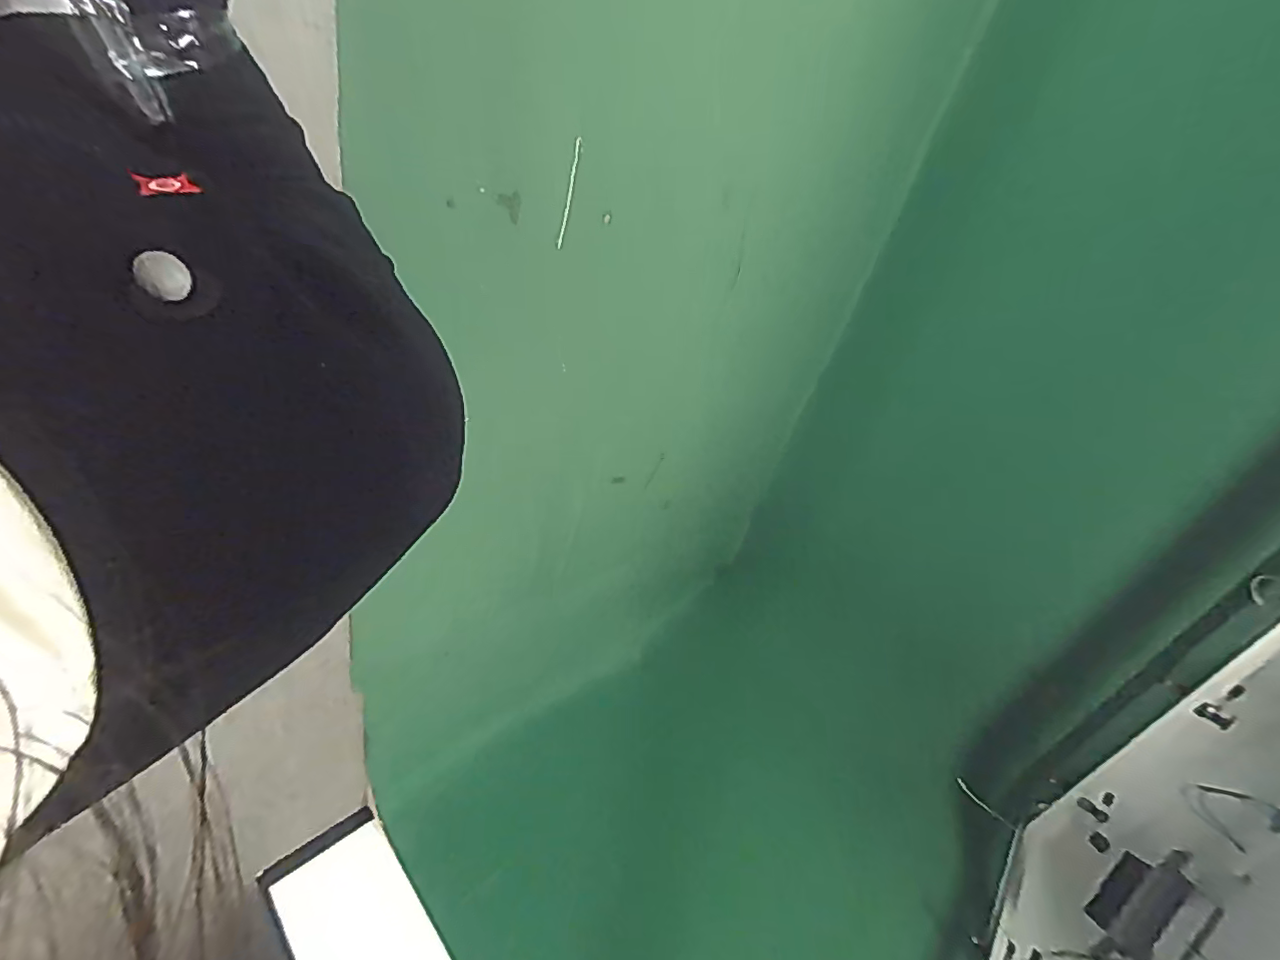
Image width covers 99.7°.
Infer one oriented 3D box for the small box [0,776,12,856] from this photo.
[{"bbox_3d":[-1.291,0.616,0.970,0.179,0.176,0.168,-20,137,-45],"label":"small box"}]
